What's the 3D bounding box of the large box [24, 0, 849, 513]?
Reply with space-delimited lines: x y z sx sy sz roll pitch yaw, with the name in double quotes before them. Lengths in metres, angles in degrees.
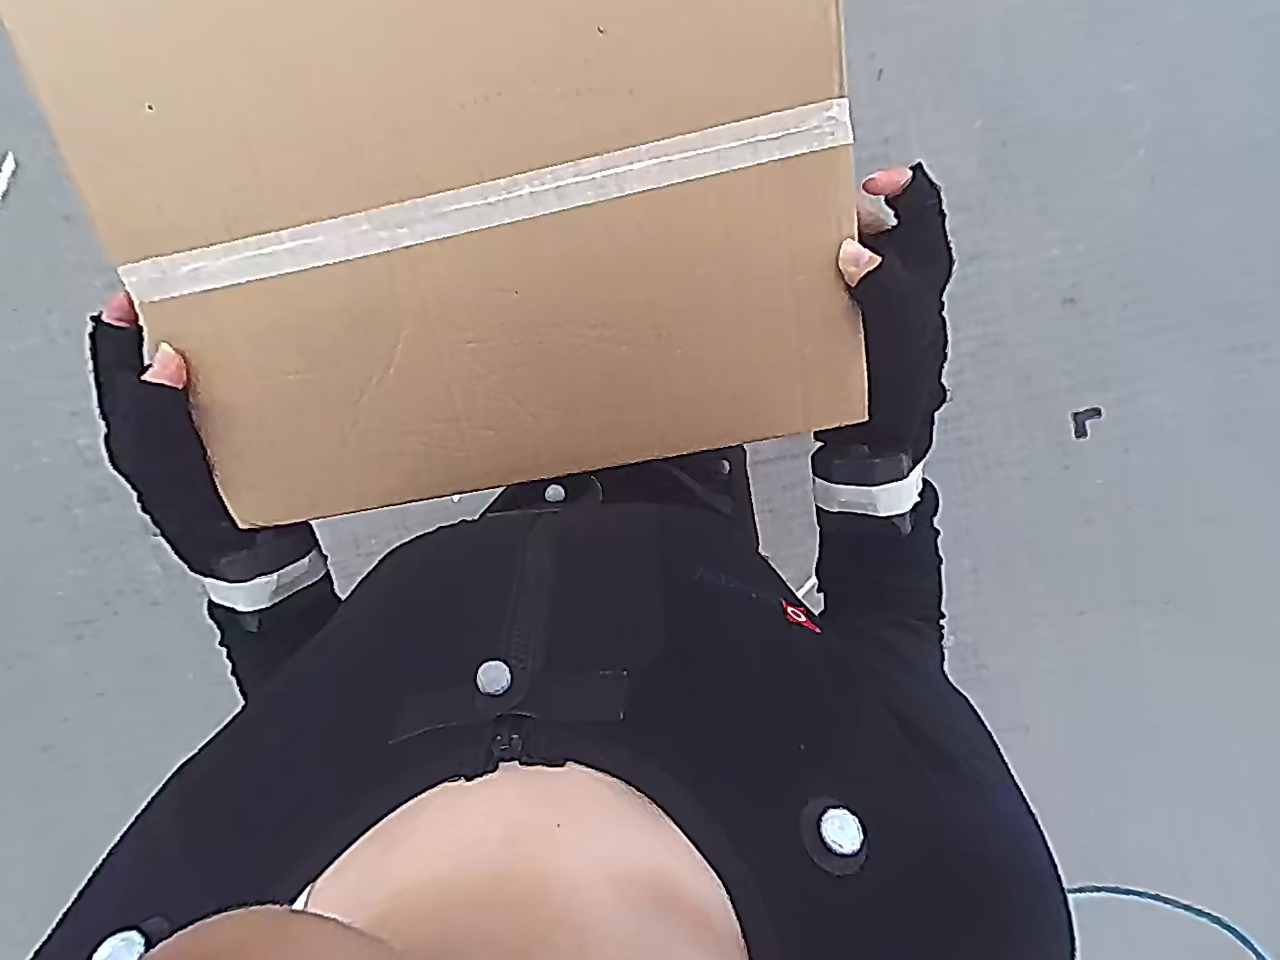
"large box" -0.089 -0.203 0.442 0.408 0.320 0.320 -10 108 5
